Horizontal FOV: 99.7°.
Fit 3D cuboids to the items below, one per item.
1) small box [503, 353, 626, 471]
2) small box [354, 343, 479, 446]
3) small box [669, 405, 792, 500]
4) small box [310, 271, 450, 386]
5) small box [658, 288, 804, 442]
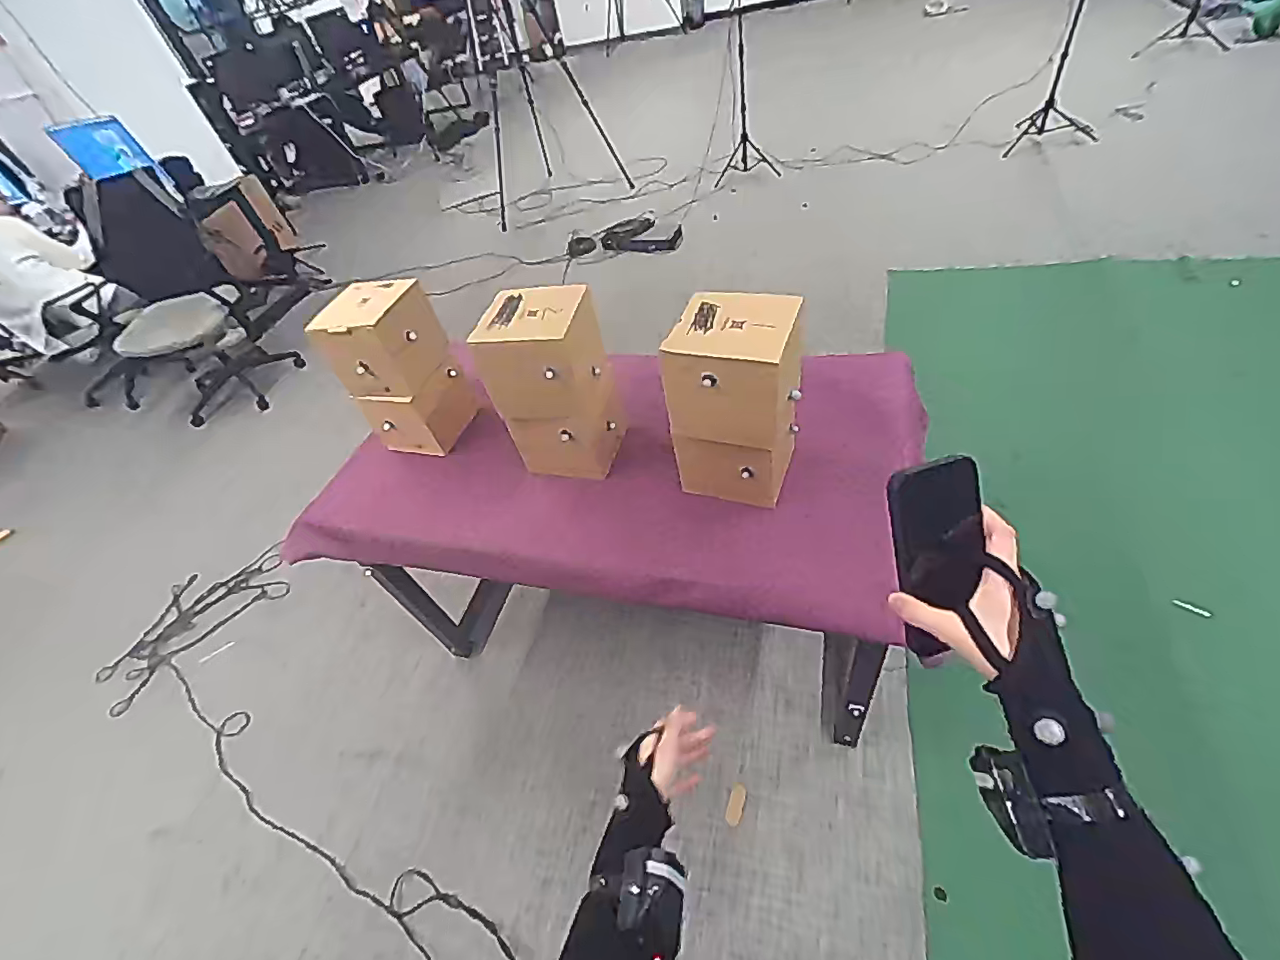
[{"bbox_3d":[-0.141,-0.136,1.099,0.179,0.176,0.168,7,51,19],"label":"small box"},{"bbox_3d":[-0.500,-0.197,1.243,0.168,0.176,0.179,8,51,20],"label":"small box"},{"bbox_3d":[0.173,-0.084,0.979,0.179,0.176,0.168,12,53,24],"label":"small box"},{"bbox_3d":[-0.527,-0.311,1.127,0.168,0.176,0.179,4,51,16],"label":"small box"},{"bbox_3d":[0.147,-0.179,0.847,0.179,0.176,0.168,12,53,23],"label":"small box"}]
